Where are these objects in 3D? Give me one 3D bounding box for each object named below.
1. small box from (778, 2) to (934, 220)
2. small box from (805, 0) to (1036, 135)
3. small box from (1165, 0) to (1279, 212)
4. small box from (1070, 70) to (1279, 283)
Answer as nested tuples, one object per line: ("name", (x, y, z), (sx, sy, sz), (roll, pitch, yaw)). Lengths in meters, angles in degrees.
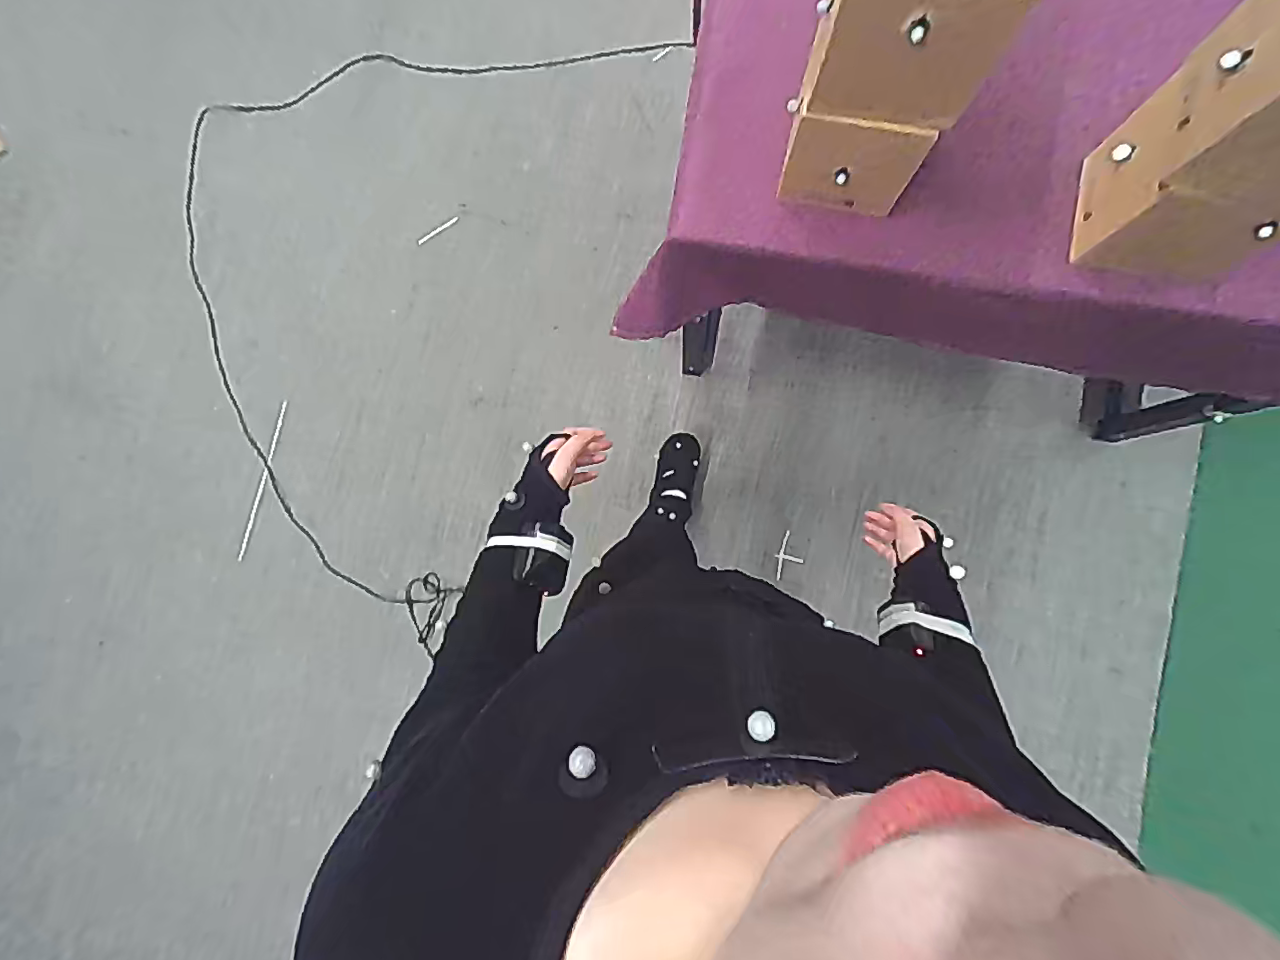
("small box", (0.294, -0.488, 0.735), (0.168, 0.176, 0.179), (13, 85, 5))
("small box", (0.288, -0.505, 0.573), (0.179, 0.176, 0.168), (11, 86, 5))
("small box", (0.687, -0.396, 0.534), (0.179, 0.176, 0.168), (15, 85, 6))
("small box", (0.705, -0.376, 0.696), (0.179, 0.176, 0.168), (11, 85, 5))
